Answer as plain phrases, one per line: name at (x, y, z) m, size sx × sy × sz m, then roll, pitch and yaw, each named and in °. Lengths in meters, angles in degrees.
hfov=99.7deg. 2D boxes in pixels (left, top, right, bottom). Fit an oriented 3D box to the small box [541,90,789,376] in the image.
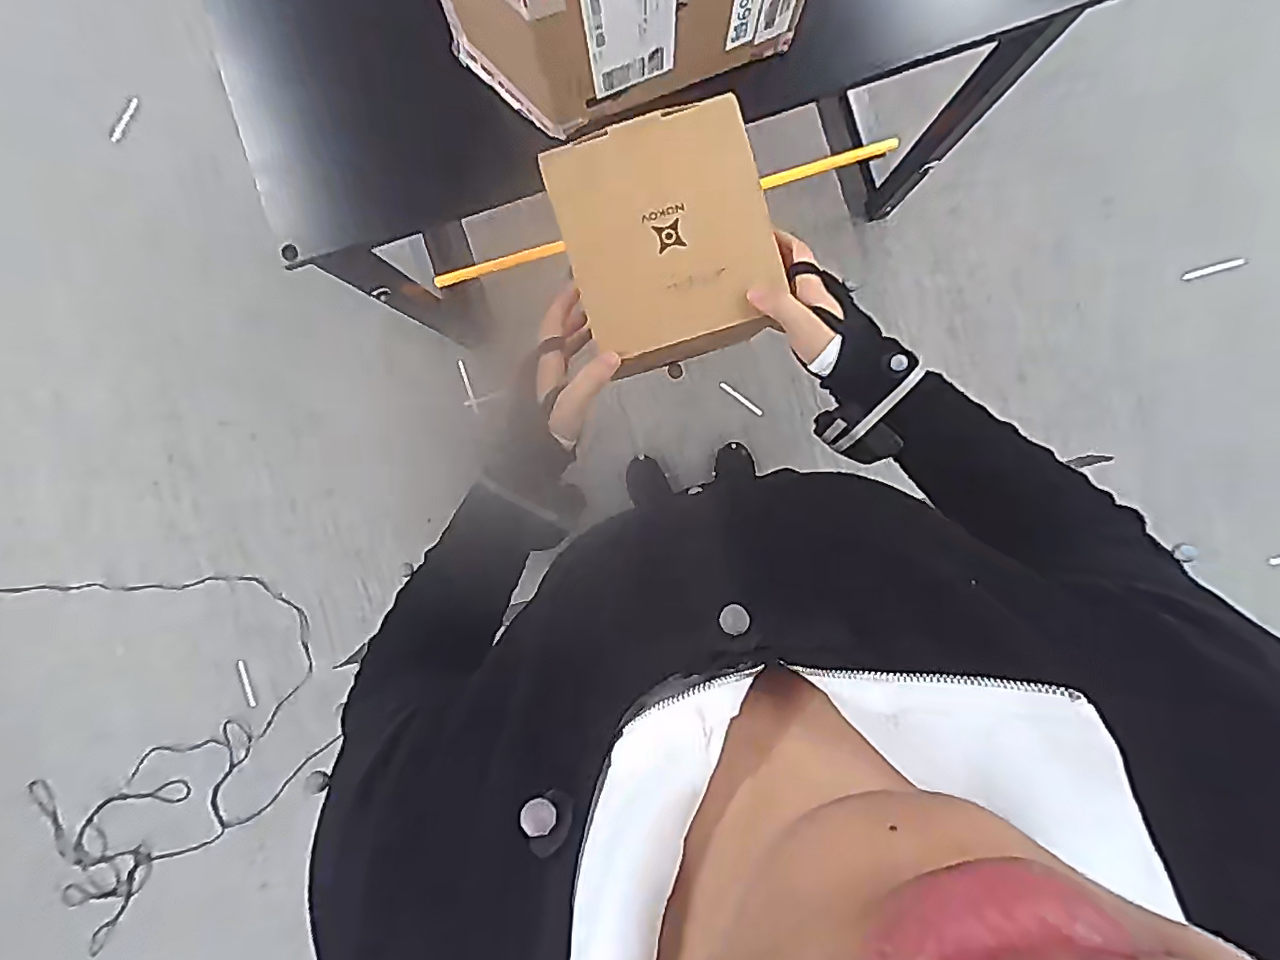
small box at (0.019, -0.210, 0.511) m, size 0.168 × 0.176 × 0.179 m, roll -17°, pitch 96°, yaw 1°
